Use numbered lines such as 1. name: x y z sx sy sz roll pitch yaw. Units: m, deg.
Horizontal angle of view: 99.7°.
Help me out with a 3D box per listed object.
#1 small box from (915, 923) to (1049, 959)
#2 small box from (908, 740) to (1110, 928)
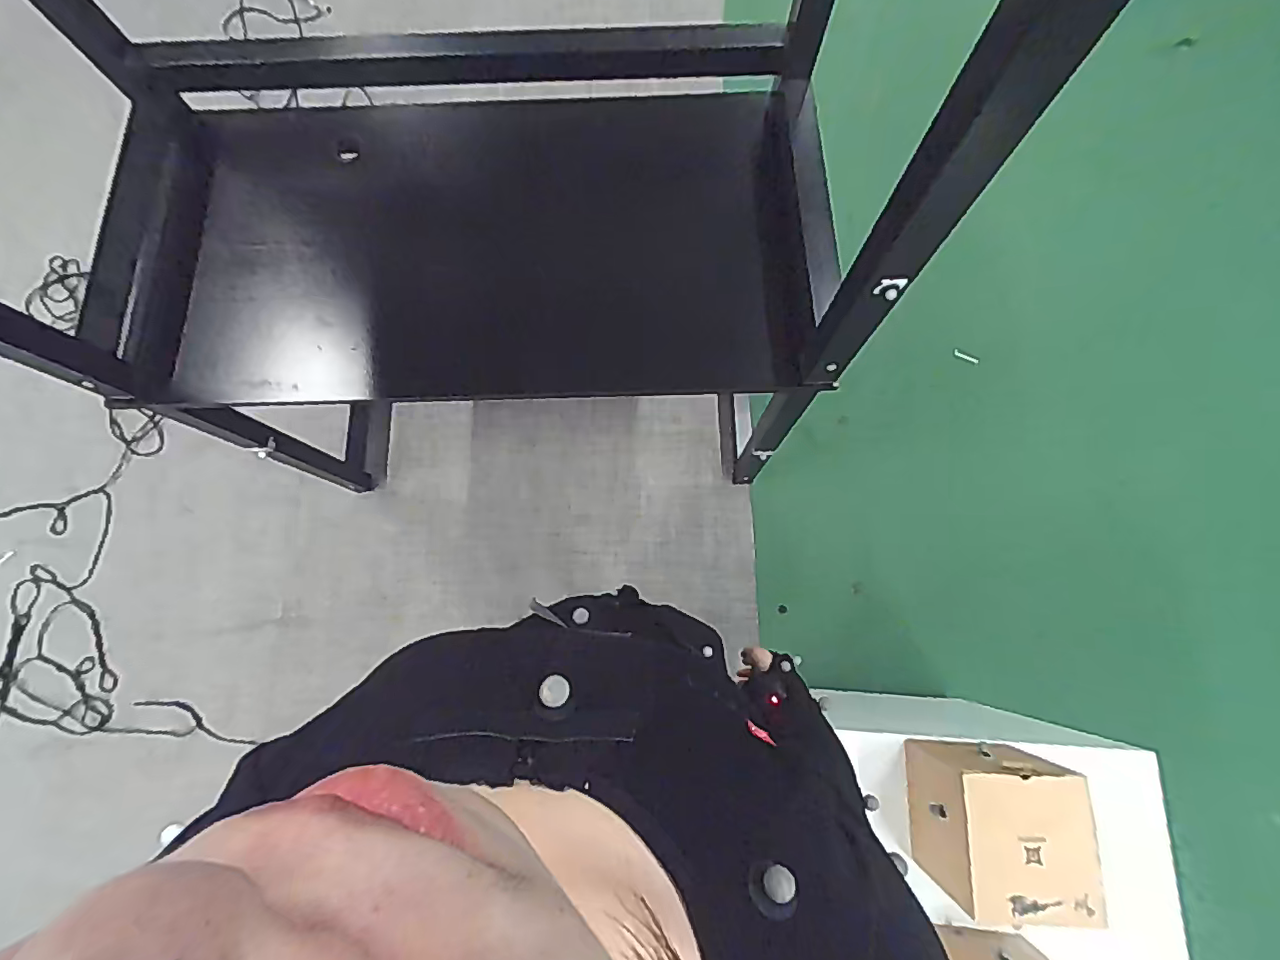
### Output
1. small box: 0.473 0.719 0.696 0.168 0.176 0.179 5 76 3
2. small box: 0.496 0.477 0.757 0.168 0.176 0.179 2 77 2
